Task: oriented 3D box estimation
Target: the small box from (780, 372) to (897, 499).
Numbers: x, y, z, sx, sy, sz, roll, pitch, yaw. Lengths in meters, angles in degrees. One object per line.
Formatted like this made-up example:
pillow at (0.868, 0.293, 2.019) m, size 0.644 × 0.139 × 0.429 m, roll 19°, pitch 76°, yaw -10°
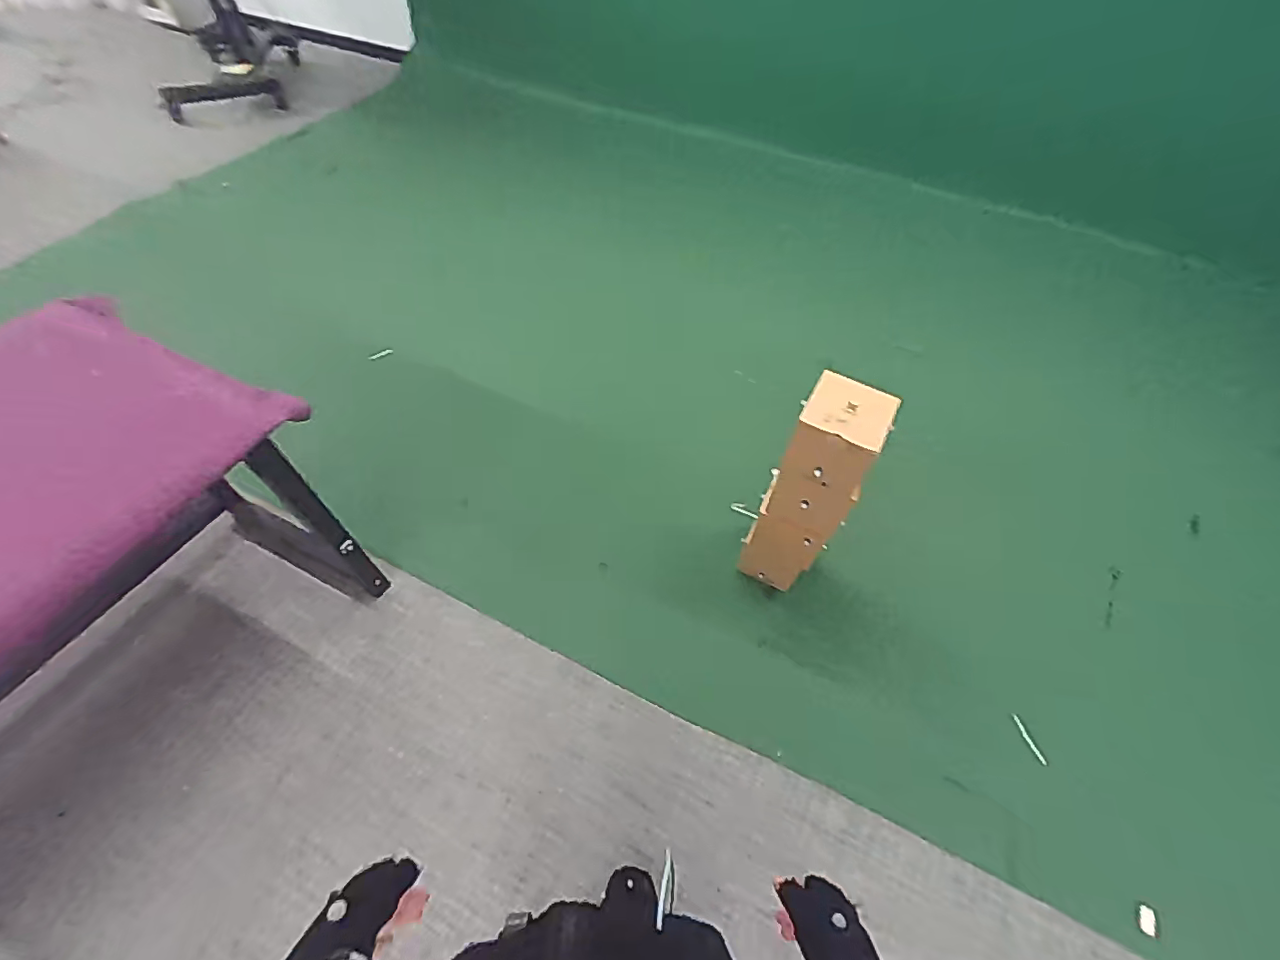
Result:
small box at (0.422, -0.094, 1.170) m, size 0.168 × 0.176 × 0.179 m, roll 26°, pitch 58°, yaw 15°

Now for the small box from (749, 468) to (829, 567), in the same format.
small box at (0.405, 0.105, 1.432) m, size 0.179 × 0.176 × 0.168 m, roll 23°, pitch 57°, yaw 13°

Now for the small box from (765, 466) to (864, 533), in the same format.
small box at (0.421, 0.006, 1.301) m, size 0.179 × 0.176 × 0.168 m, roll 22°, pitch 57°, yaw 13°
